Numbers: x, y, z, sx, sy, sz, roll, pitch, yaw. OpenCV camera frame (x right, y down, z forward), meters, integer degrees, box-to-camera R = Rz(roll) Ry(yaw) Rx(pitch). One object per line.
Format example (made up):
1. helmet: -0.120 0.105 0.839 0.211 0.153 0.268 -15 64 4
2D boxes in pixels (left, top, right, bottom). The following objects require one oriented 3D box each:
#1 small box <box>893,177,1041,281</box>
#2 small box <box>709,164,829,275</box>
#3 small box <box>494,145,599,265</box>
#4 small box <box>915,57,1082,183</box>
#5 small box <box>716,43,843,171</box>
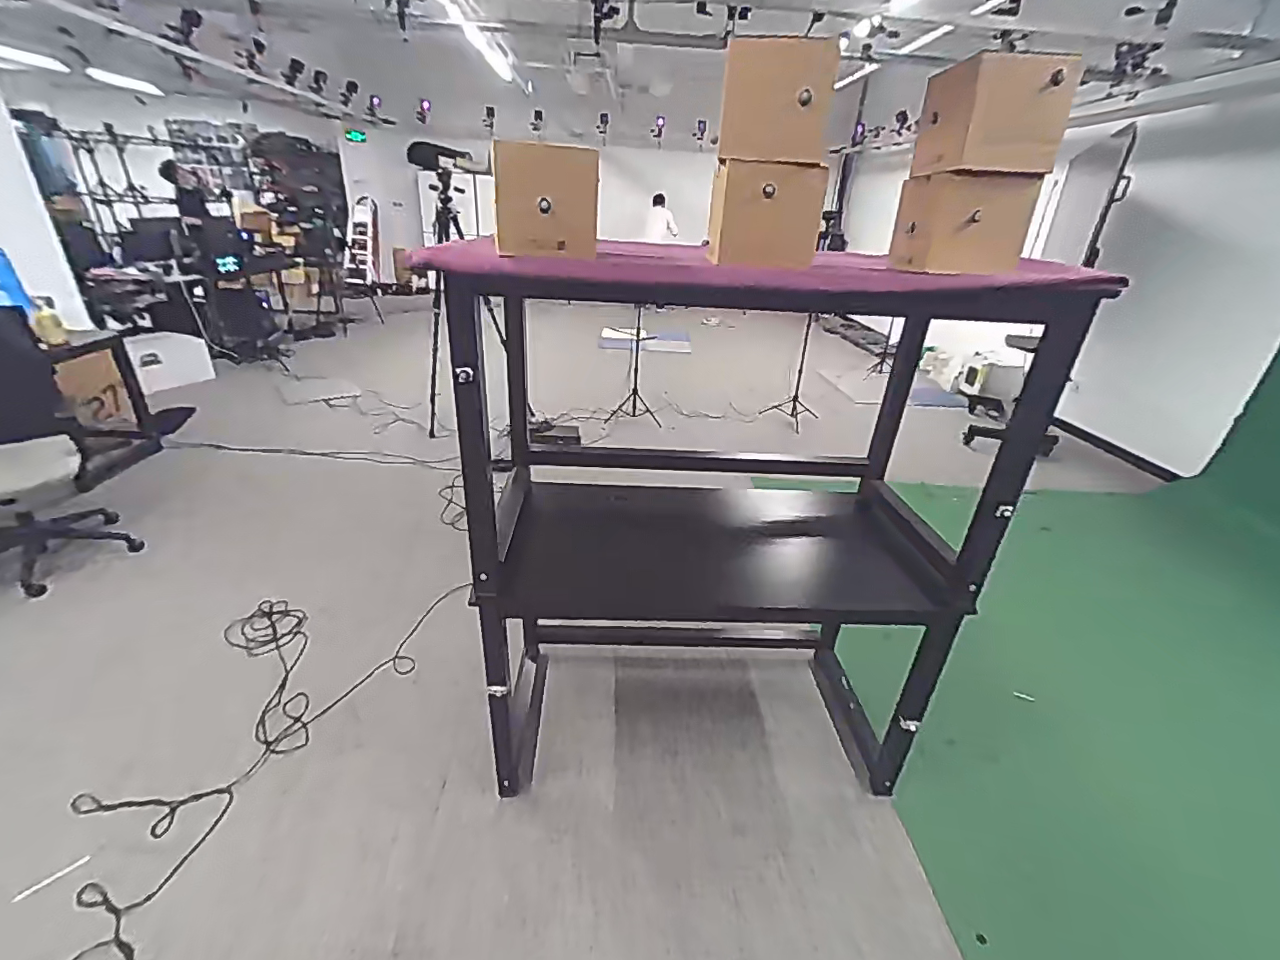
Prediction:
1. small box: 0.606 -0.473 1.033 0.179 0.176 0.168 1 24 -2
2. small box: 0.227 -0.479 1.004 0.179 0.176 0.168 3 27 -2
3. small box: -0.167 -0.476 0.945 0.168 0.176 0.179 -3 28 -15
4. small box: 0.612 -0.616 0.954 0.179 0.176 0.168 1 24 -2
5. small box: 0.231 -0.624 0.931 0.179 0.176 0.168 6 26 7
